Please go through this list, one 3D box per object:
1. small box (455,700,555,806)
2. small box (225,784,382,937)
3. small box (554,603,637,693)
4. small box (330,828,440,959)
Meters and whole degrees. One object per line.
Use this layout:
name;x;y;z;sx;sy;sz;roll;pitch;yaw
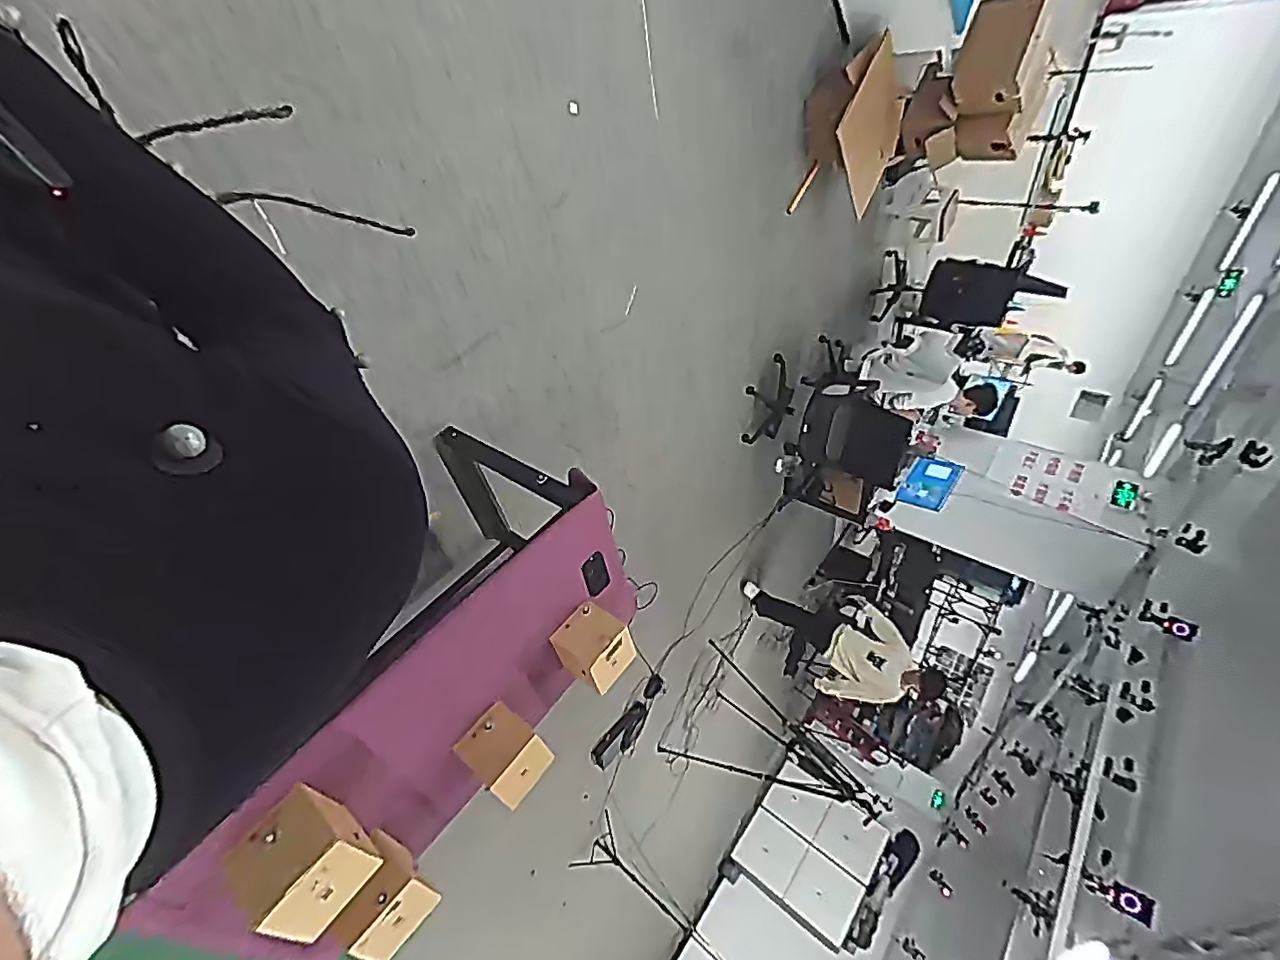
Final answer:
small box;-0.363;0.730;1.459;0.168;0.176;0.179;-44;140;-29
small box;-0.654;0.736;1.058;0.168;0.176;0.179;-45;141;-30
small box;-0.134;0.493;1.618;0.168;0.176;0.179;-43;141;-29
small box;-0.610;0.961;1.266;0.168;0.176;0.179;-43;141;-31
